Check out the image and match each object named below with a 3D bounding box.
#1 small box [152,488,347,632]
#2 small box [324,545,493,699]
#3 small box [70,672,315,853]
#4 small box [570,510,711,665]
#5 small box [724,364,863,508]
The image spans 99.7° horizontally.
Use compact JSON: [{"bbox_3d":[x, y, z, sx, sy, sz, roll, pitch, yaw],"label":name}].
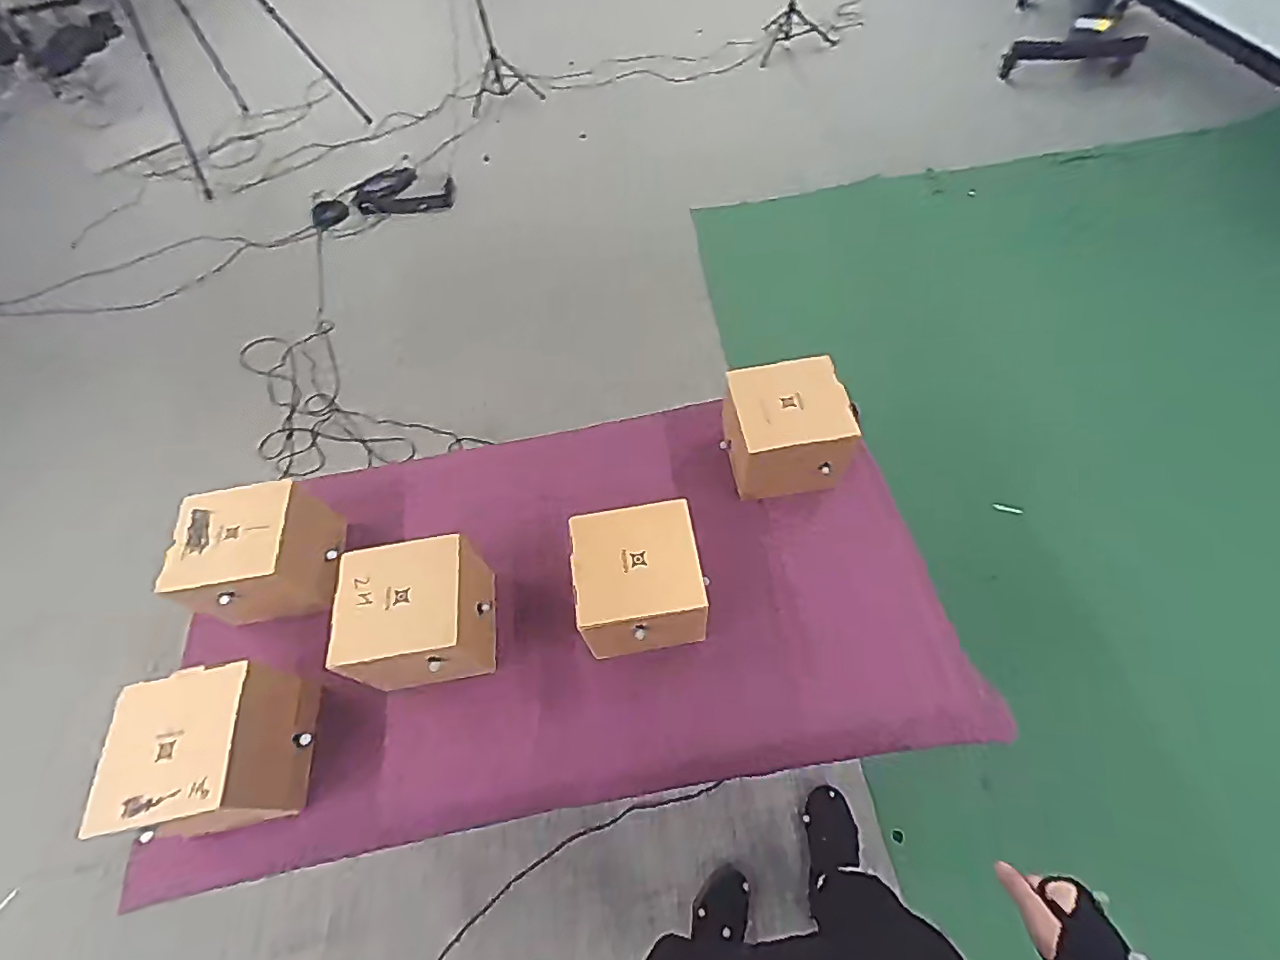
[{"bbox_3d":[-0.613,0.136,0.876,0.179,0.176,0.168,-10,59,-1],"label":"small box"},{"bbox_3d":[-0.324,0.215,0.800,0.179,0.176,0.168,-10,58,0],"label":"small box"},{"bbox_3d":[-0.568,0.379,0.721,0.168,0.176,0.179,-12,56,-1],"label":"small box"},{"bbox_3d":[0.002,0.164,0.803,0.179,0.176,0.168,-10,59,1],"label":"small box"},{"bbox_3d":[0.246,-0.069,0.916,0.179,0.176,0.168,-9,60,1],"label":"small box"}]
